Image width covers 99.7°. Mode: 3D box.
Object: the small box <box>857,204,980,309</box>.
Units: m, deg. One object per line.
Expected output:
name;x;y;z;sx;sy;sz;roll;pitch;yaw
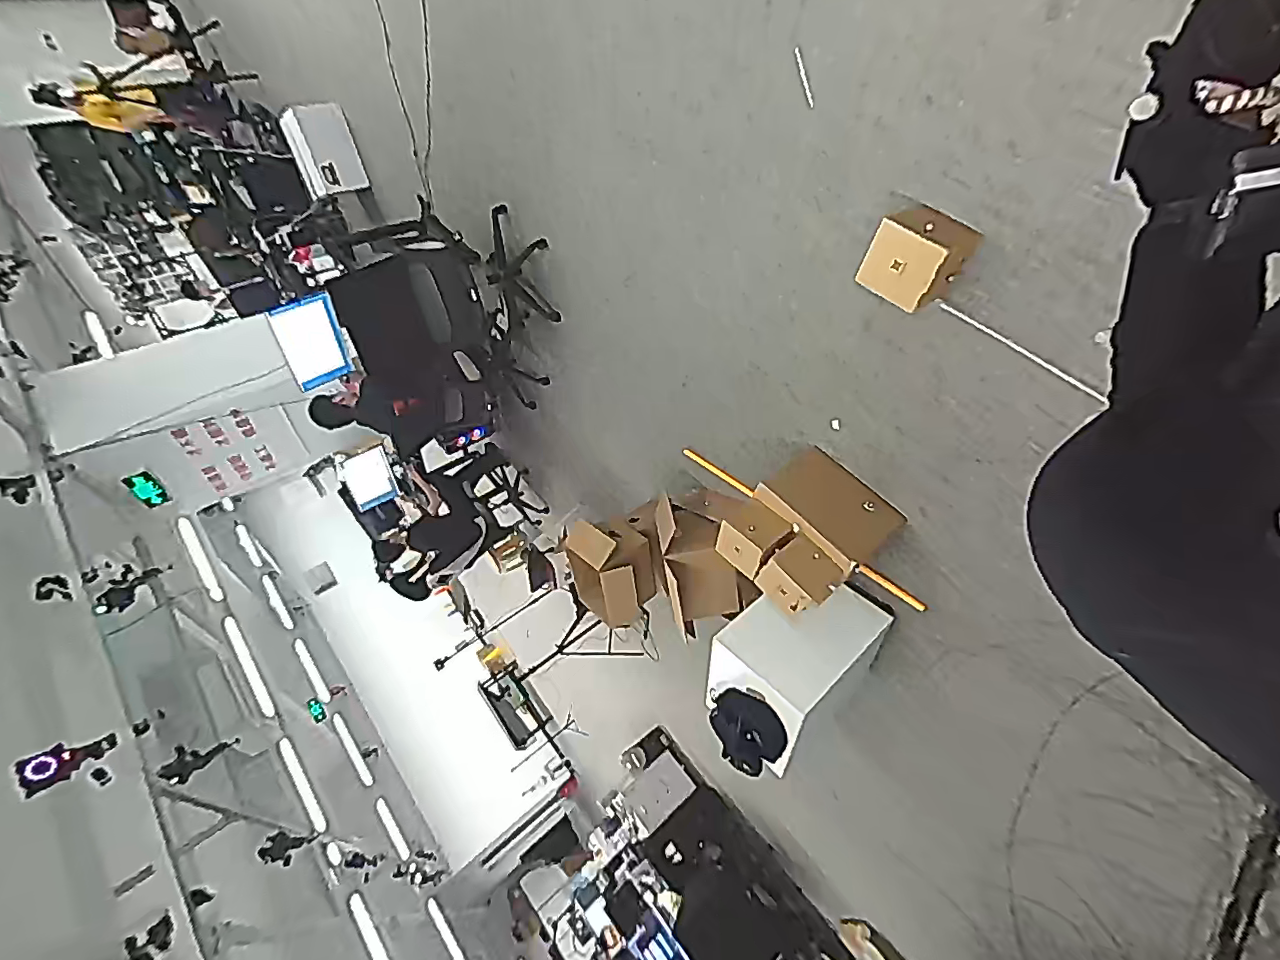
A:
small box;0.680;-0.554;1.326;0.179;0.176;0.168;43;148;24
